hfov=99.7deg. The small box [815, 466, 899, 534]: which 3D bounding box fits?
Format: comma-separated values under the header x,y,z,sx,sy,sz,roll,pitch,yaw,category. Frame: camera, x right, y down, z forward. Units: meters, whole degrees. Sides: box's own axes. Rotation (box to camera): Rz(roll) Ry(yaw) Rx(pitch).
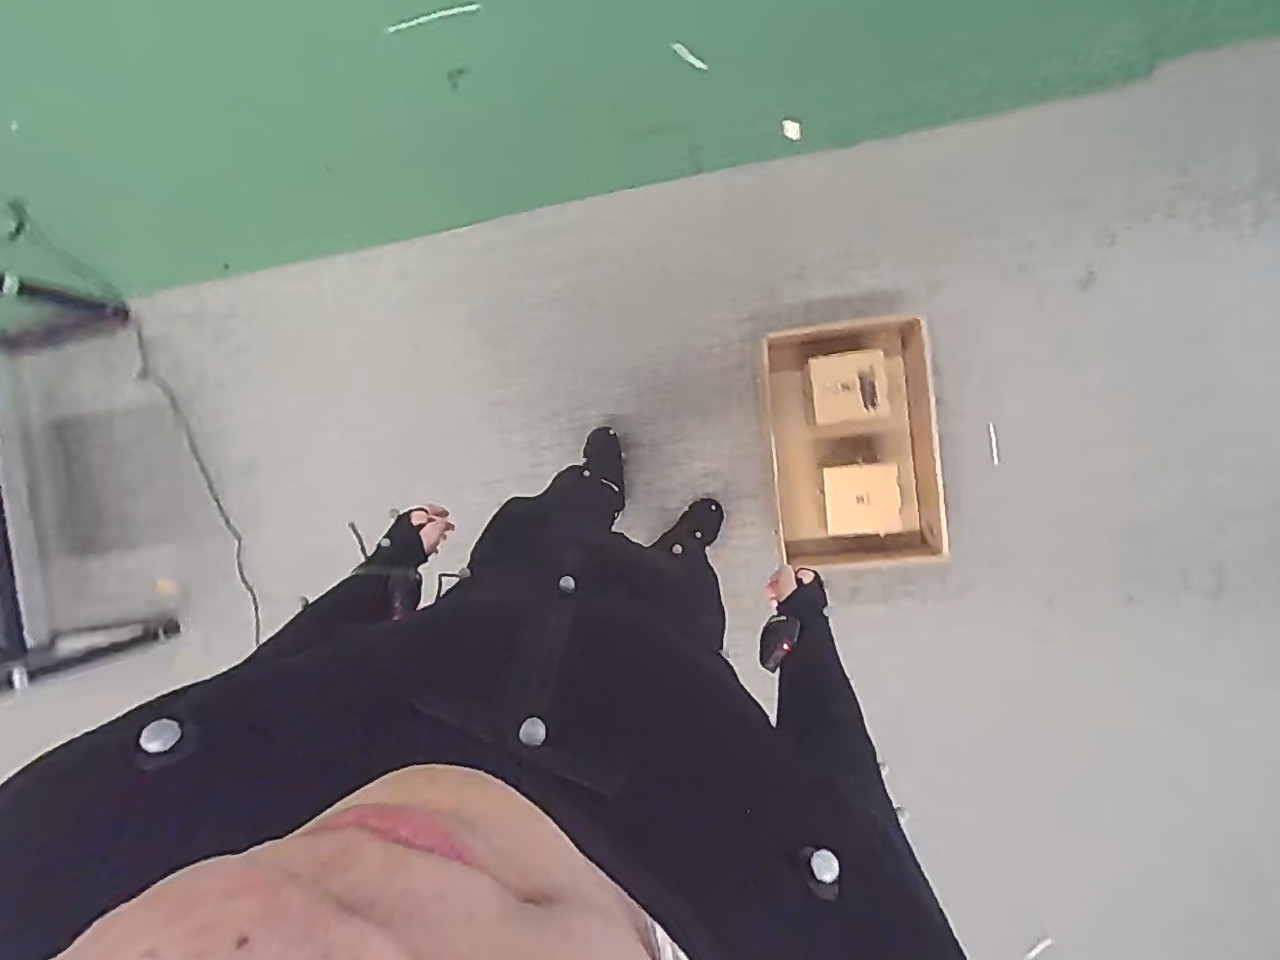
x,y,z,sx,sy,sz,roll,pitch,yaw,category
0.559,0.051,1.413,0.179,0.176,0.168,-4,91,9,small box
